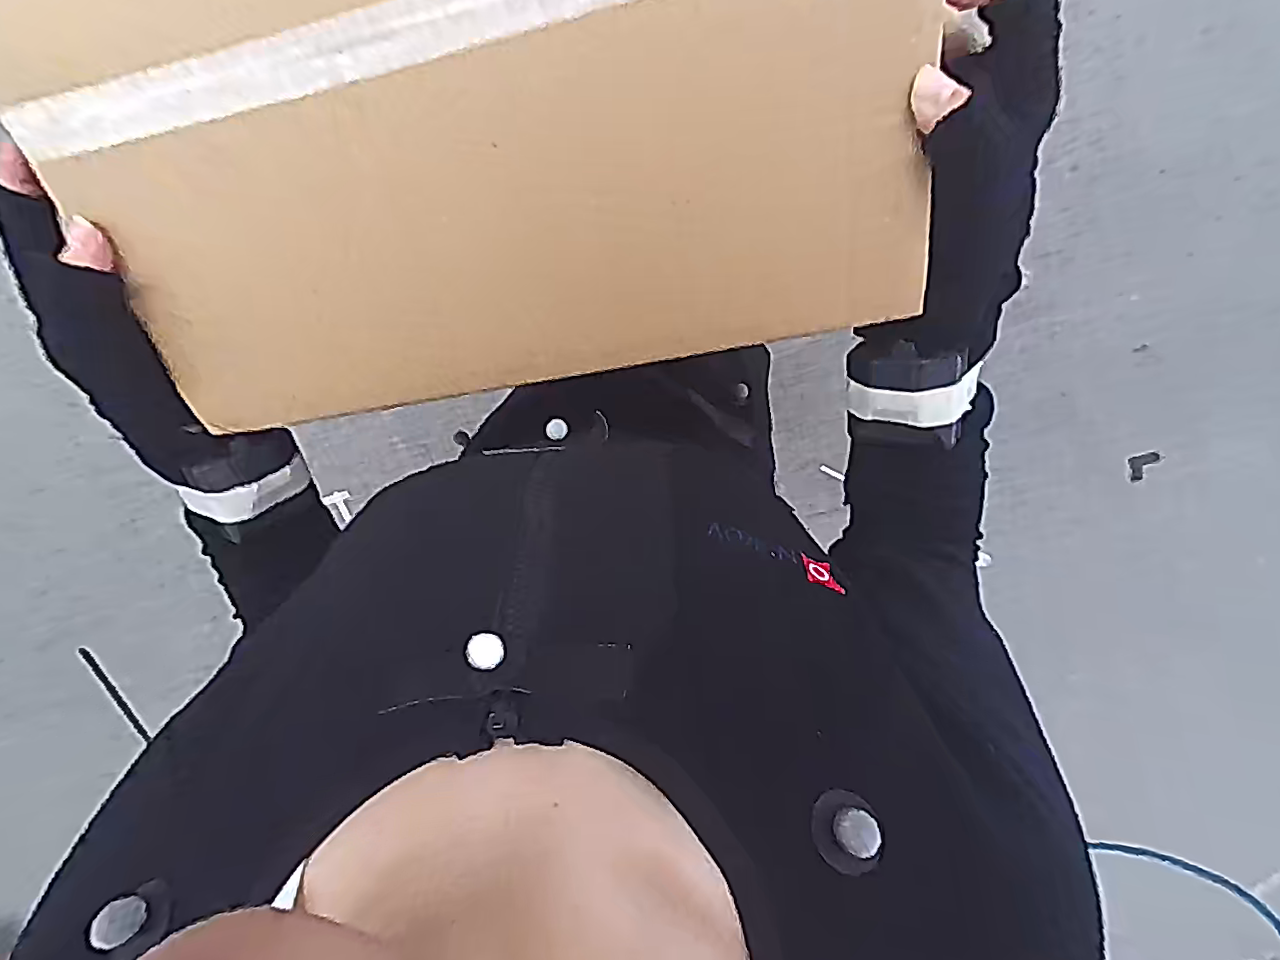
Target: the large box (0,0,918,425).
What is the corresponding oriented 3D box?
[{"bbox_3d":[-0.079,-0.268,0.357,0.408,0.320,0.320,-8,119,8],"label":"large box"}]
